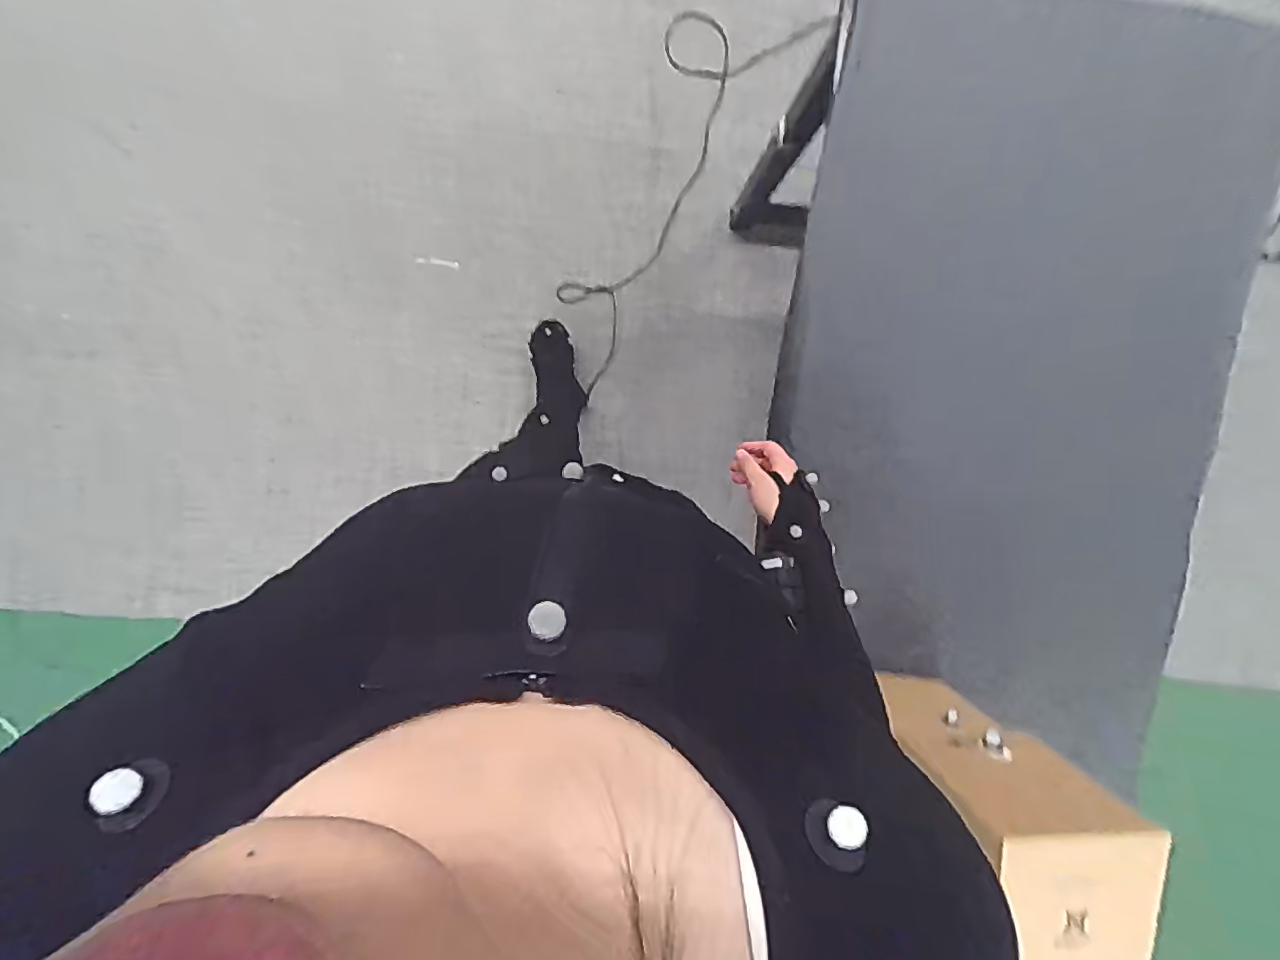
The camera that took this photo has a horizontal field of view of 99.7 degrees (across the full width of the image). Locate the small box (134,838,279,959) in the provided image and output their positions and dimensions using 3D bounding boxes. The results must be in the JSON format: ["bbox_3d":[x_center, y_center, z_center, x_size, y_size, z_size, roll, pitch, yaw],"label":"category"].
[{"bbox_3d":[-0.885,0.879,1.118,0.179,0.176,0.168,8,97,-5],"label":"small box"}]

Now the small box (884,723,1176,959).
[{"bbox_3d":[0.371,0.374,0.548,0.168,0.176,0.179,2,95,-7],"label":"small box"}]

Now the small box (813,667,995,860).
[{"bbox_3d":[0.356,0.366,0.710,0.179,0.176,0.168,10,95,-6],"label":"small box"}]
